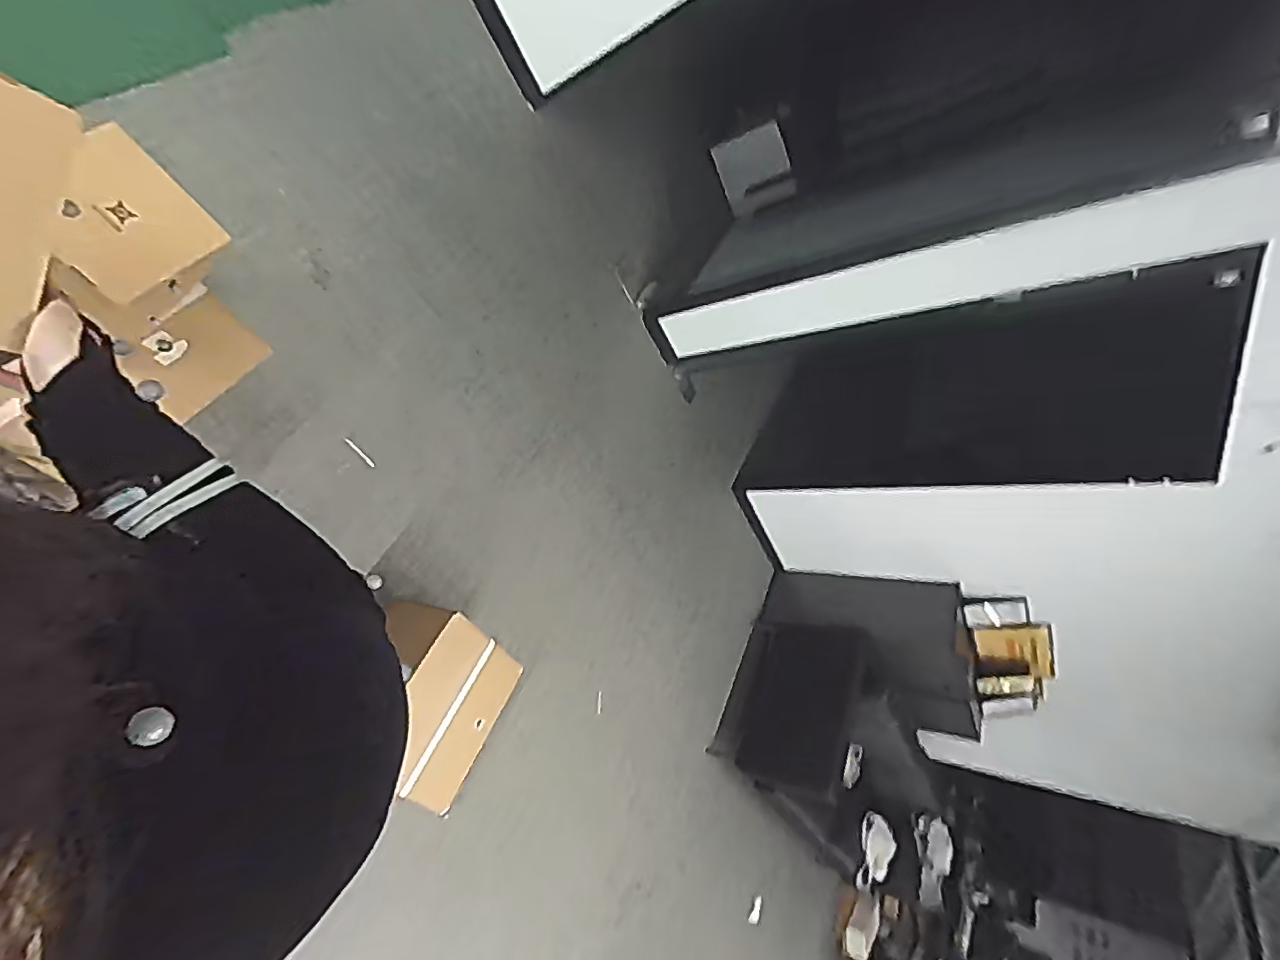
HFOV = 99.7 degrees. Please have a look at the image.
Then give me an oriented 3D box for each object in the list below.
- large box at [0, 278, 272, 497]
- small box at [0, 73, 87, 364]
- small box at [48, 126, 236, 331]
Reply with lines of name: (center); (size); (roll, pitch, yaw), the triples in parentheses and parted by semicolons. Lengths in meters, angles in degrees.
large box: (-1.015, -0.219, 1.004); (0.320, 0.320, 0.408); (55, 48, -34)
small box: (-0.507, -0.185, 0.349); (0.168, 0.176, 0.179); (14, 82, -54)
small box: (-0.712, -0.331, 0.735); (0.168, 0.176, 0.179); (53, 51, -32)
